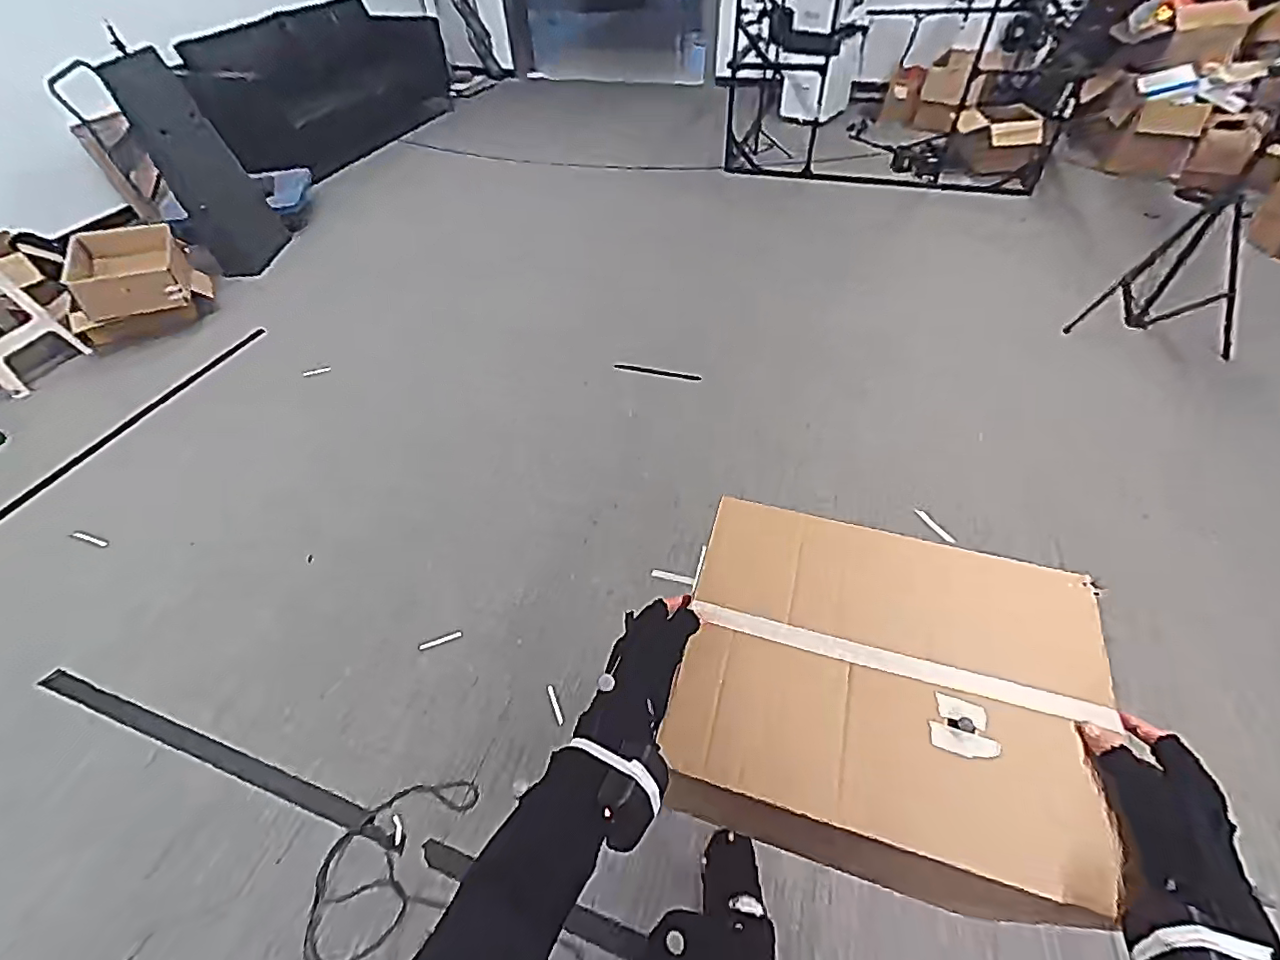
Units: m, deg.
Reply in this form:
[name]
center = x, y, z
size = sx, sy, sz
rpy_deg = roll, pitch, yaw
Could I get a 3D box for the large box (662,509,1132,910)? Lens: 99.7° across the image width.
[large box]
center = 0.257, 0.280, 0.678
size = 0.408, 0.320, 0.320
rpy_deg = 12, 56, 13
